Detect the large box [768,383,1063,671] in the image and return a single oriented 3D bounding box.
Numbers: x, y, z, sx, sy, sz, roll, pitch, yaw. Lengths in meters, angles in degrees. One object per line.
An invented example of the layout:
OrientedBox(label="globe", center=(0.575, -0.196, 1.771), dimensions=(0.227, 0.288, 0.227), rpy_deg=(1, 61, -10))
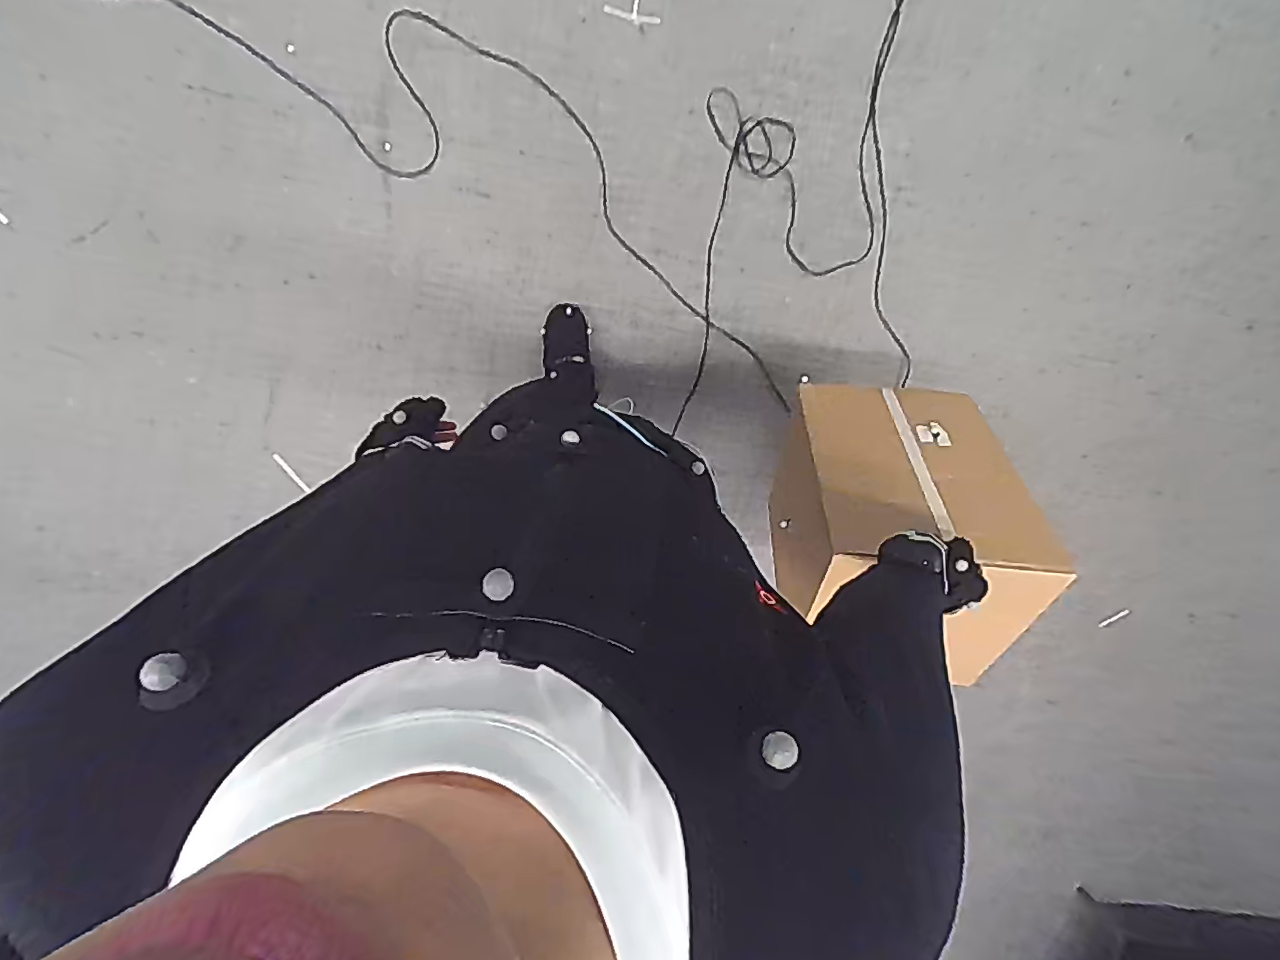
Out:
OrientedBox(label="large box", center=(0.420, 0.076, 0.959), dimensions=(0.320, 0.408, 0.320), rpy_deg=(6, 134, 2))
